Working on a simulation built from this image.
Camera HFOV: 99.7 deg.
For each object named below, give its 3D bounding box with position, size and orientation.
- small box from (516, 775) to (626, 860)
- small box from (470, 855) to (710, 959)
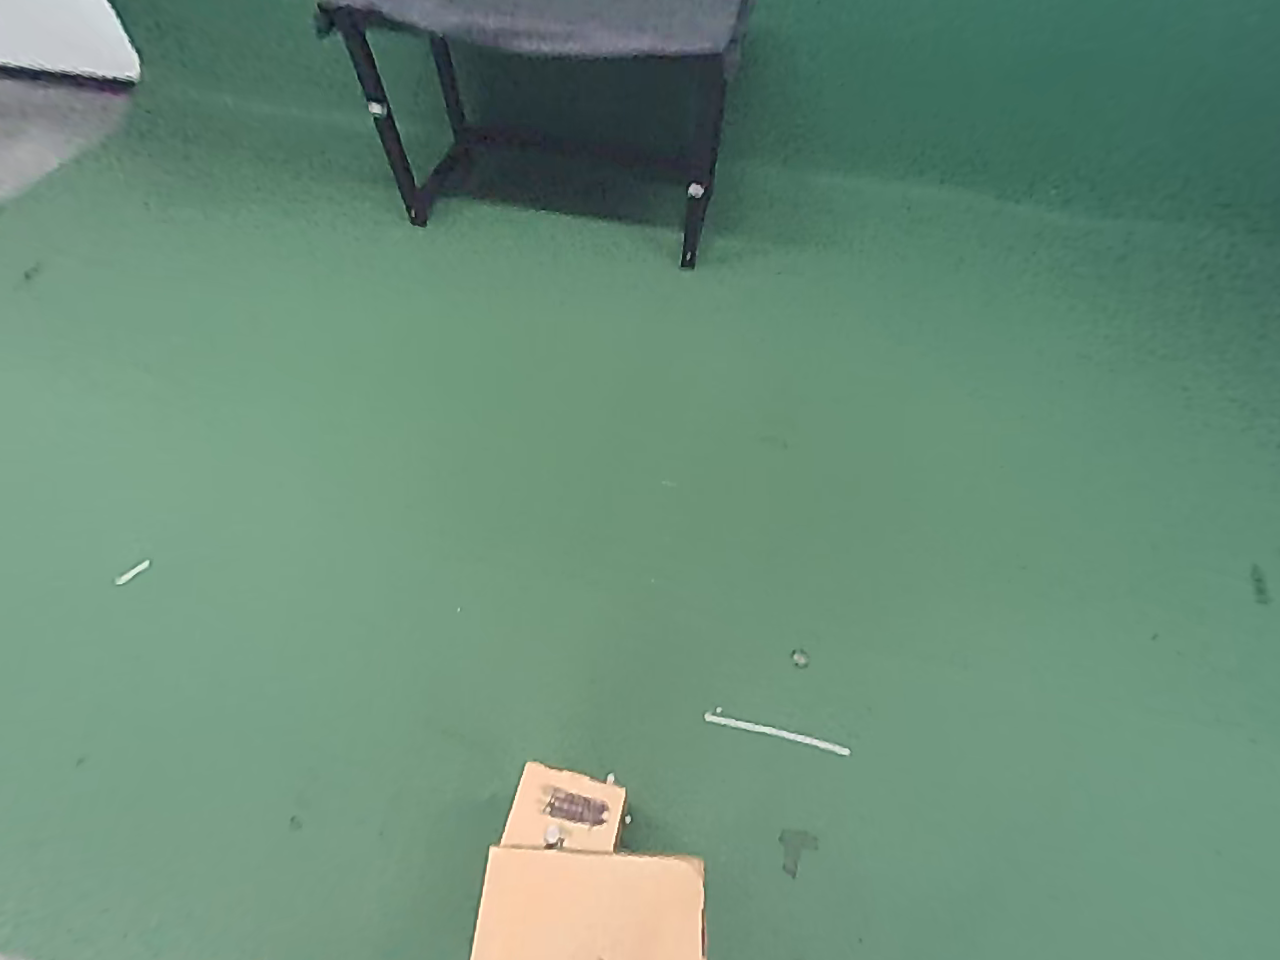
[{"bbox_3d":[-0.123,0.671,0.998,0.168,0.176,0.179,11,55,7],"label":"small box"},{"bbox_3d":[-0.041,0.416,0.444,0.179,0.176,0.168,5,58,0],"label":"small box"}]
